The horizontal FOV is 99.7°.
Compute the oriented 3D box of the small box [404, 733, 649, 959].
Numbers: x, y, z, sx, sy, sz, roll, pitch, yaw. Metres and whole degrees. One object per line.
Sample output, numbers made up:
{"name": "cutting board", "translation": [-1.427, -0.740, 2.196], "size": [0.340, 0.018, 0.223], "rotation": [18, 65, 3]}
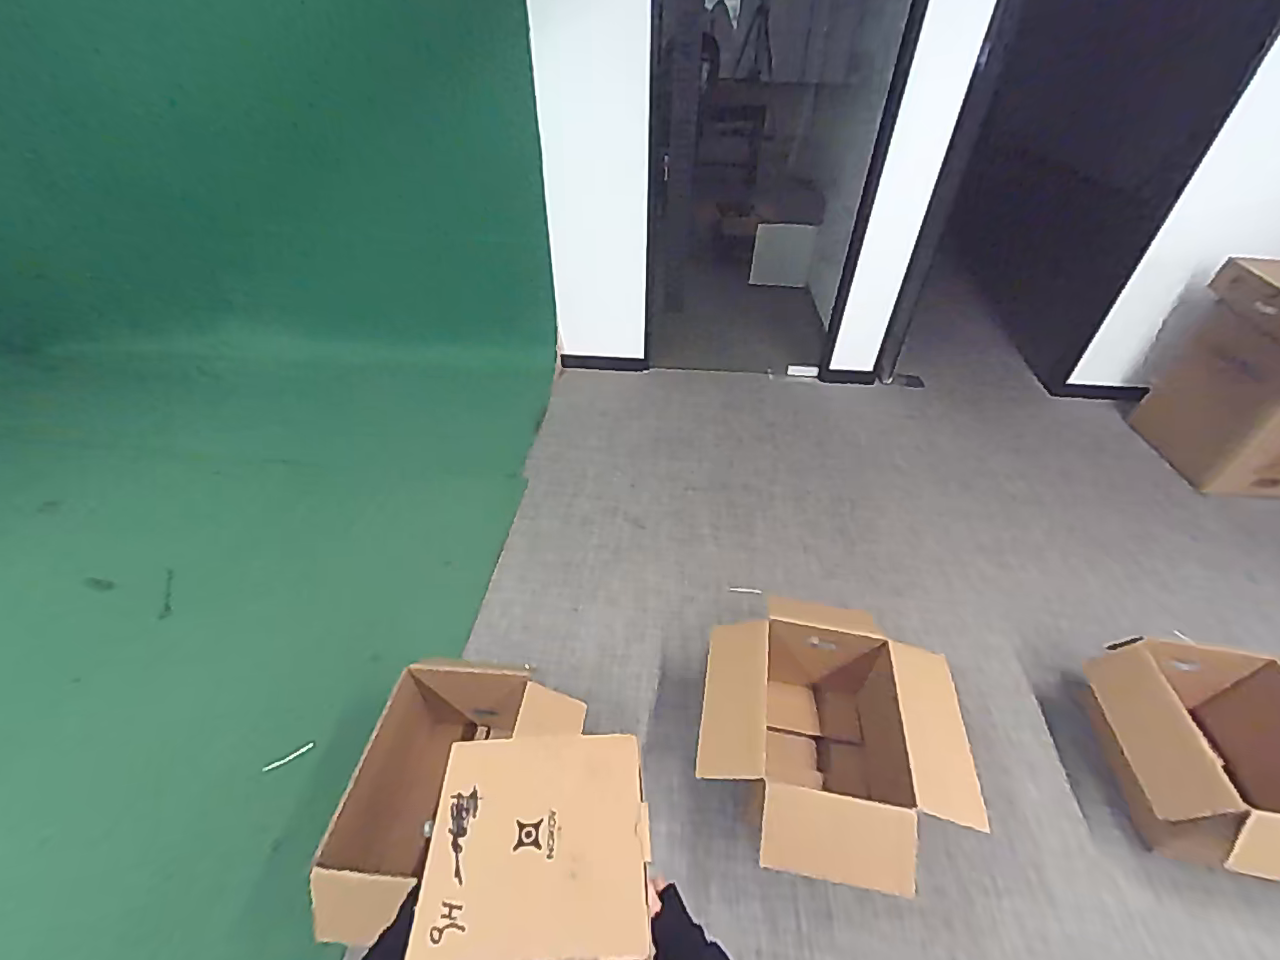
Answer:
{"name": "small box", "translation": [-0.089, 0.355, 0.497], "size": [0.179, 0.176, 0.168], "rotation": [2, 36, -4]}
